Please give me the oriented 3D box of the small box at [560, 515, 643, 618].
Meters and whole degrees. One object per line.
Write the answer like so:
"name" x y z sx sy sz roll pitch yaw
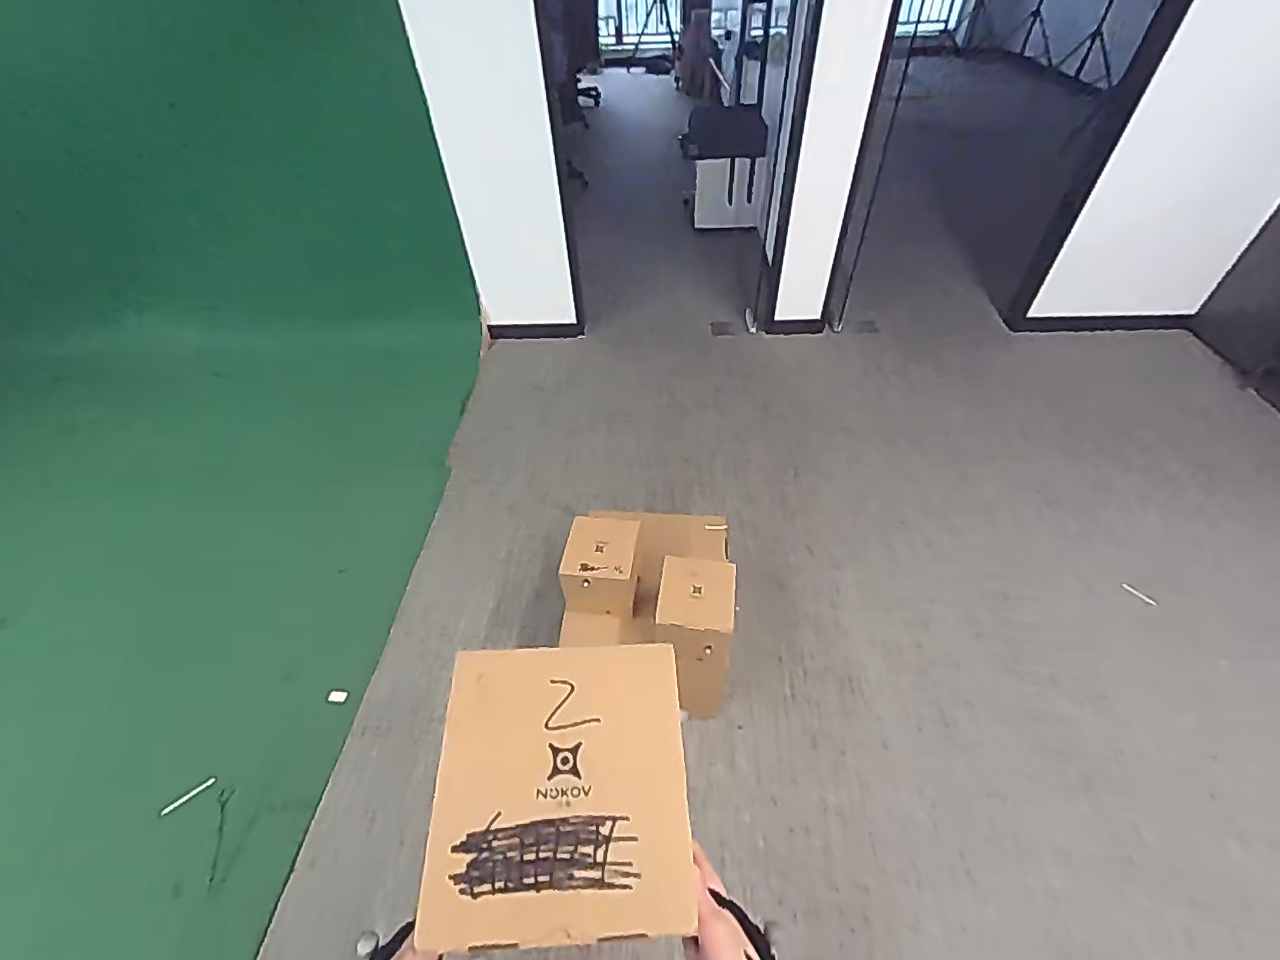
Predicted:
"small box" -0.085 0.210 1.322 0.168 0.176 0.179 4 45 8

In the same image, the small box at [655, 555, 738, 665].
"small box" 0.128 0.297 1.227 0.168 0.176 0.179 6 46 7
